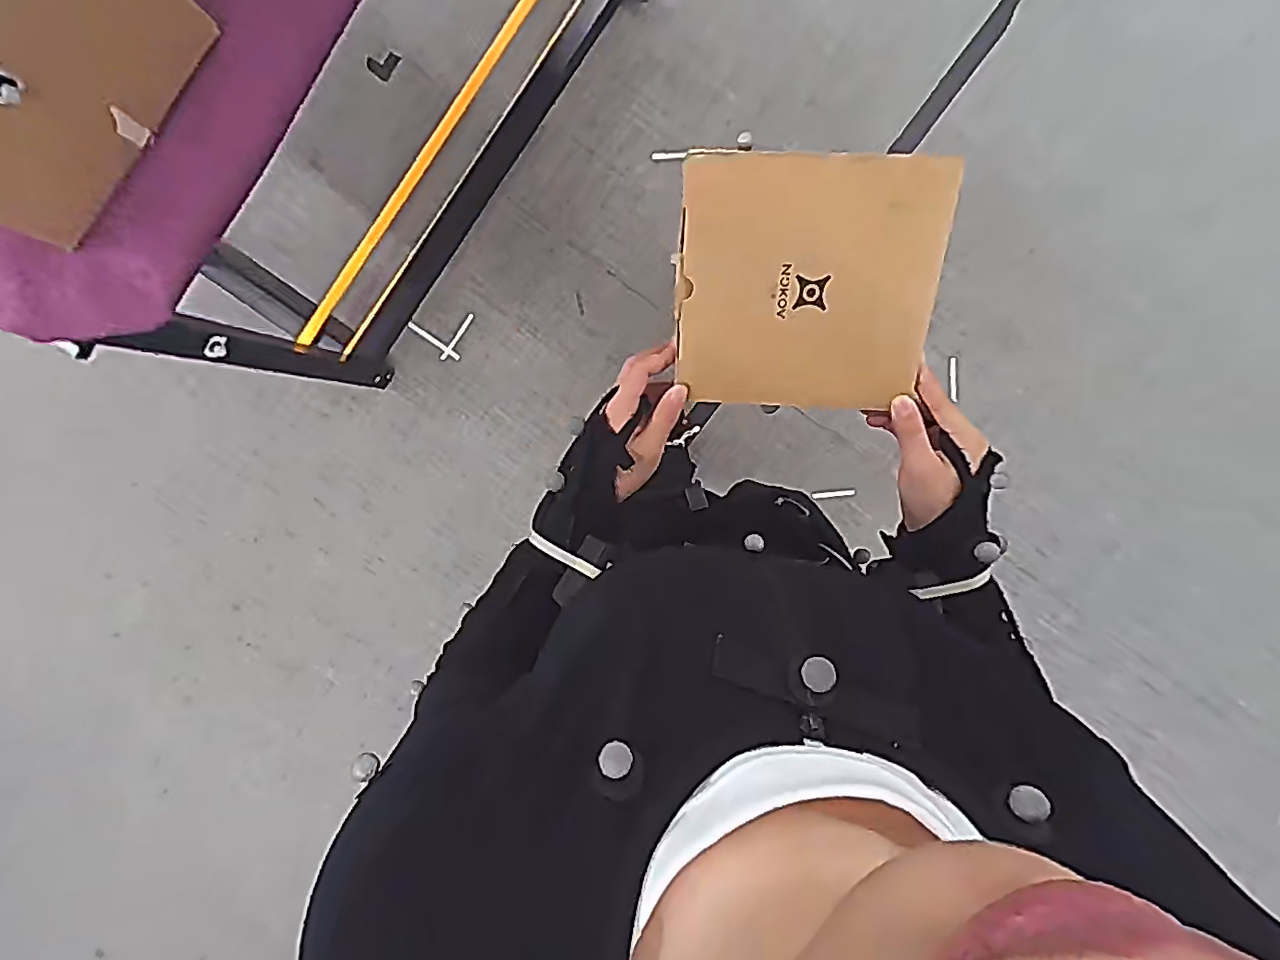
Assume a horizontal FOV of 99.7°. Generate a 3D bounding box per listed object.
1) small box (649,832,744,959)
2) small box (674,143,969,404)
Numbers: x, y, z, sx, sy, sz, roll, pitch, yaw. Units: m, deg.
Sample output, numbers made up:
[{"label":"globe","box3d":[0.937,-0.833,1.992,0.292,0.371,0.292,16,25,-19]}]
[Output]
[{"label":"small box","box3d":[0.136,1.048,1.367,0.168,0.176,0.179,35,95,-1]},{"label":"small box","box3d":[0.123,-0.169,0.443,0.179,0.176,0.168,4,115,6]}]
